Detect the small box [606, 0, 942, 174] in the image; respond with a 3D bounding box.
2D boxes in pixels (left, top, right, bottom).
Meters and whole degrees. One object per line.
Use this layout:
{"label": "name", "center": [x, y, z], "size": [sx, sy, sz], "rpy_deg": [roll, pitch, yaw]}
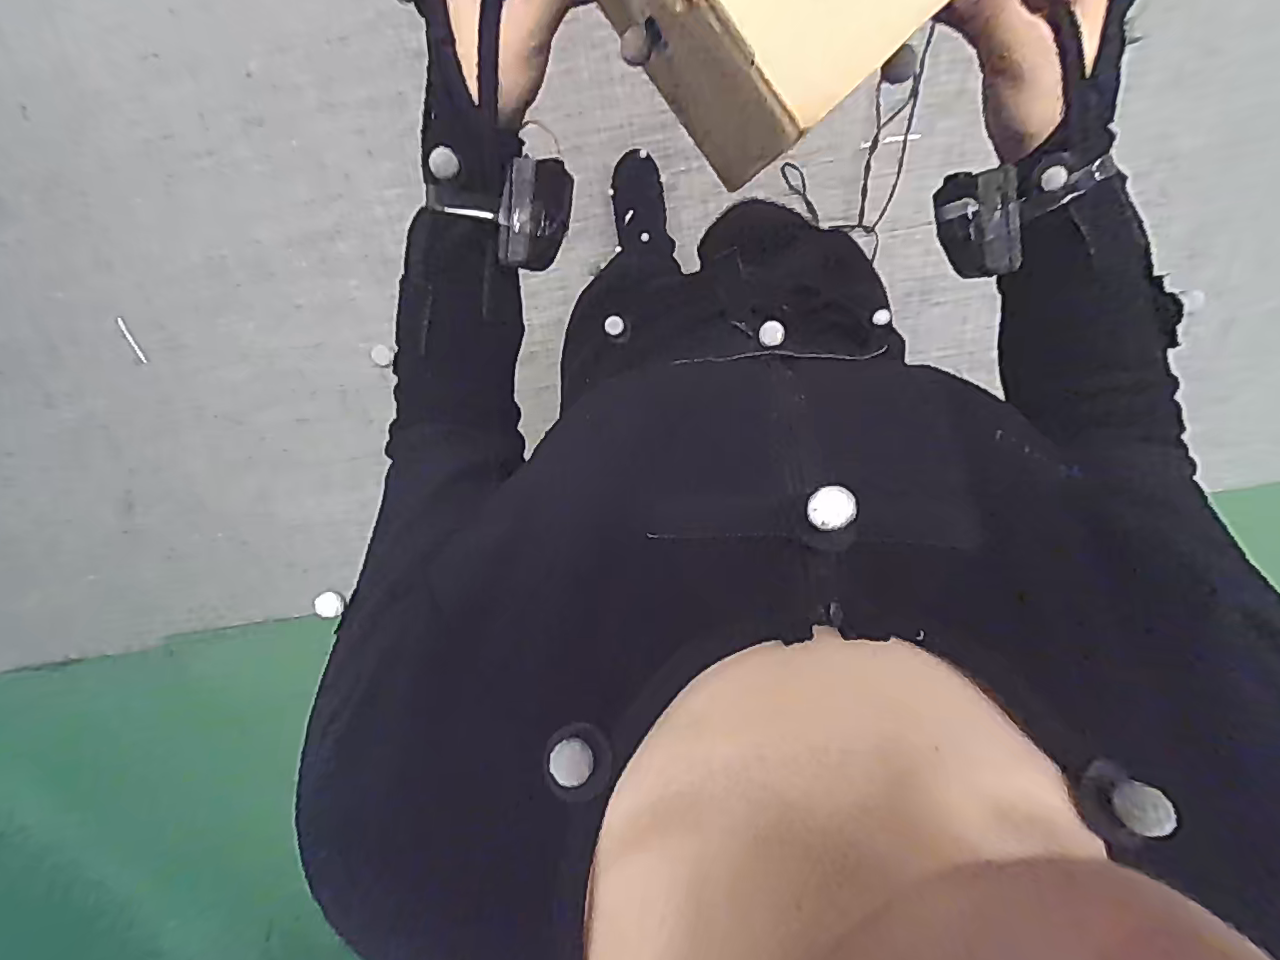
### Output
{"label": "small box", "center": [0.068, -0.269, 0.234], "size": [0.179, 0.176, 0.168], "rpy_deg": [-38, 105, 16]}
